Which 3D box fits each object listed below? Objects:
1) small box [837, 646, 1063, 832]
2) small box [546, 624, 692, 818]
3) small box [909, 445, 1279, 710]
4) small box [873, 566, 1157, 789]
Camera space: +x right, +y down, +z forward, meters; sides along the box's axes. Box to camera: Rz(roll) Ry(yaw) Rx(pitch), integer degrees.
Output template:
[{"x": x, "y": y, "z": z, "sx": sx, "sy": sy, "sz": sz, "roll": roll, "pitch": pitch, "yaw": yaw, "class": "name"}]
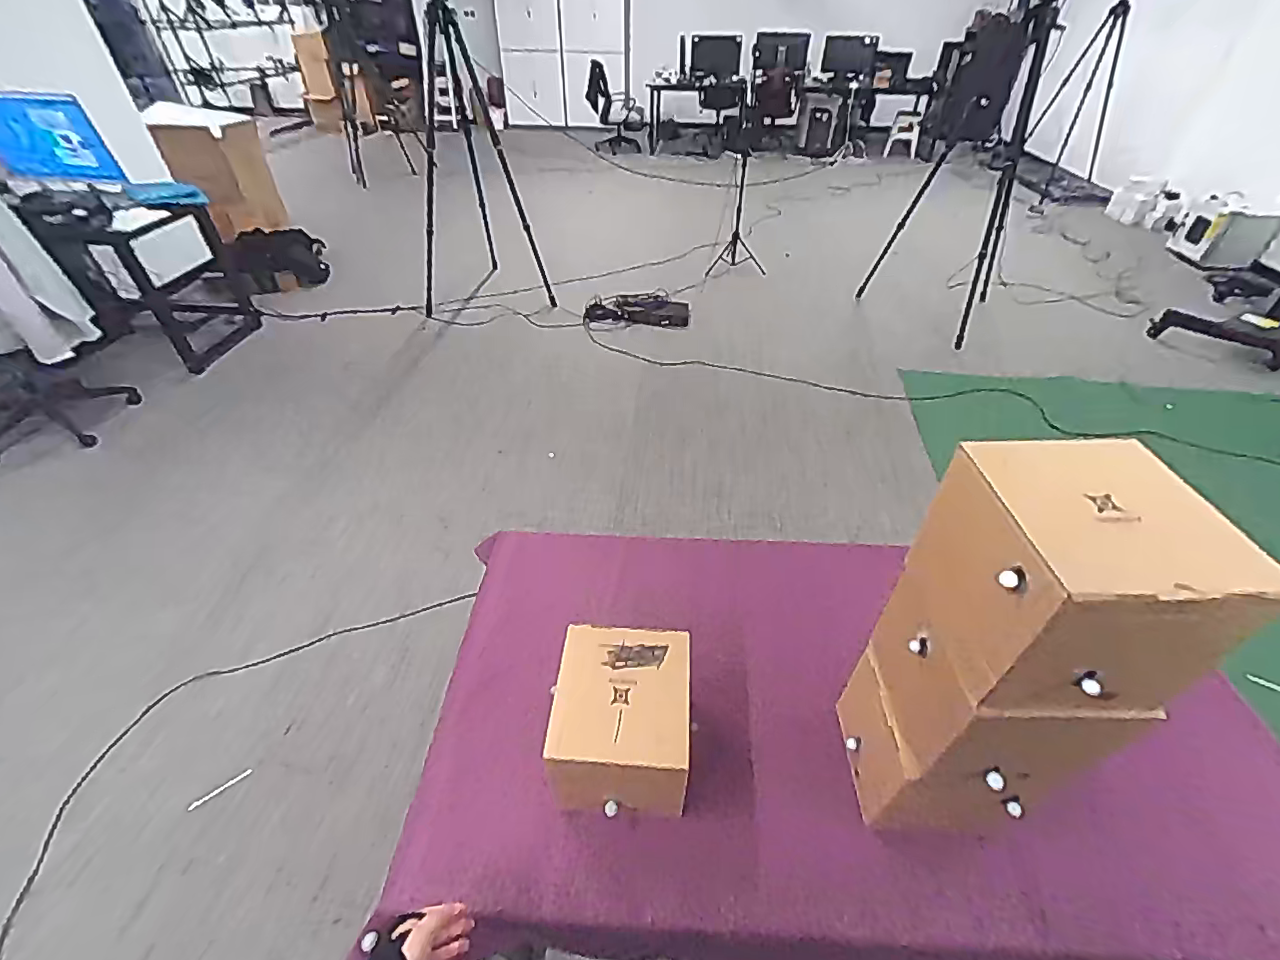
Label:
[{"x": 0.377, "y": 0.335, "z": 0.699, "sx": 0.179, "sy": 0.176, "sz": 0.168, "roll": 2, "pitch": 41, "yaw": 2, "class": "small box"}, {"x": -0.021, "y": 0.317, "z": 0.718, "sx": 0.168, "sy": 0.176, "sz": 0.179, "roll": 3, "pitch": 42, "yaw": 3, "class": "small box"}, {"x": 0.374, "y": 0.086, "z": 0.489, "sx": 0.168, "sy": 0.176, "sz": 0.179, "roll": -1, "pitch": 42, "yaw": 0, "class": "small box"}, {"x": 0.377, "y": 0.211, "z": 0.592, "sx": 0.168, "sy": 0.176, "sz": 0.179, "roll": 1, "pitch": 42, "yaw": 2, "class": "small box"}]
